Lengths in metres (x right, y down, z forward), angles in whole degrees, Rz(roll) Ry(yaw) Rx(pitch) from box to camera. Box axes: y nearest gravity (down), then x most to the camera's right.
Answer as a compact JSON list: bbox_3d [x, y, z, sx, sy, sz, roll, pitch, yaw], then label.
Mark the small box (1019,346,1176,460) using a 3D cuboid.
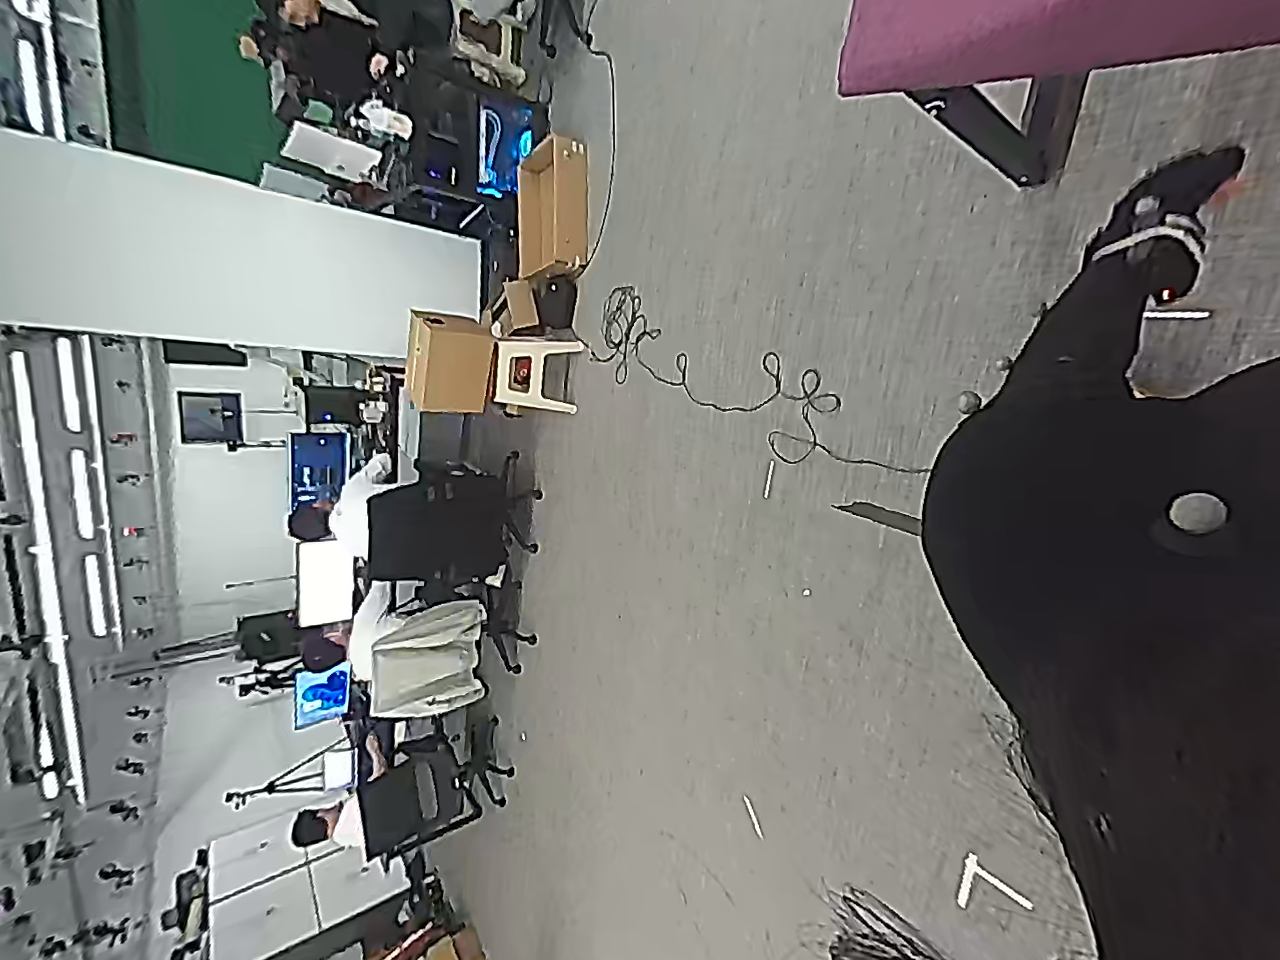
[{"bbox_3d":[0.969,-0.159,1.147,0.179,0.176,0.168,56,134,32],"label":"small box"}]
